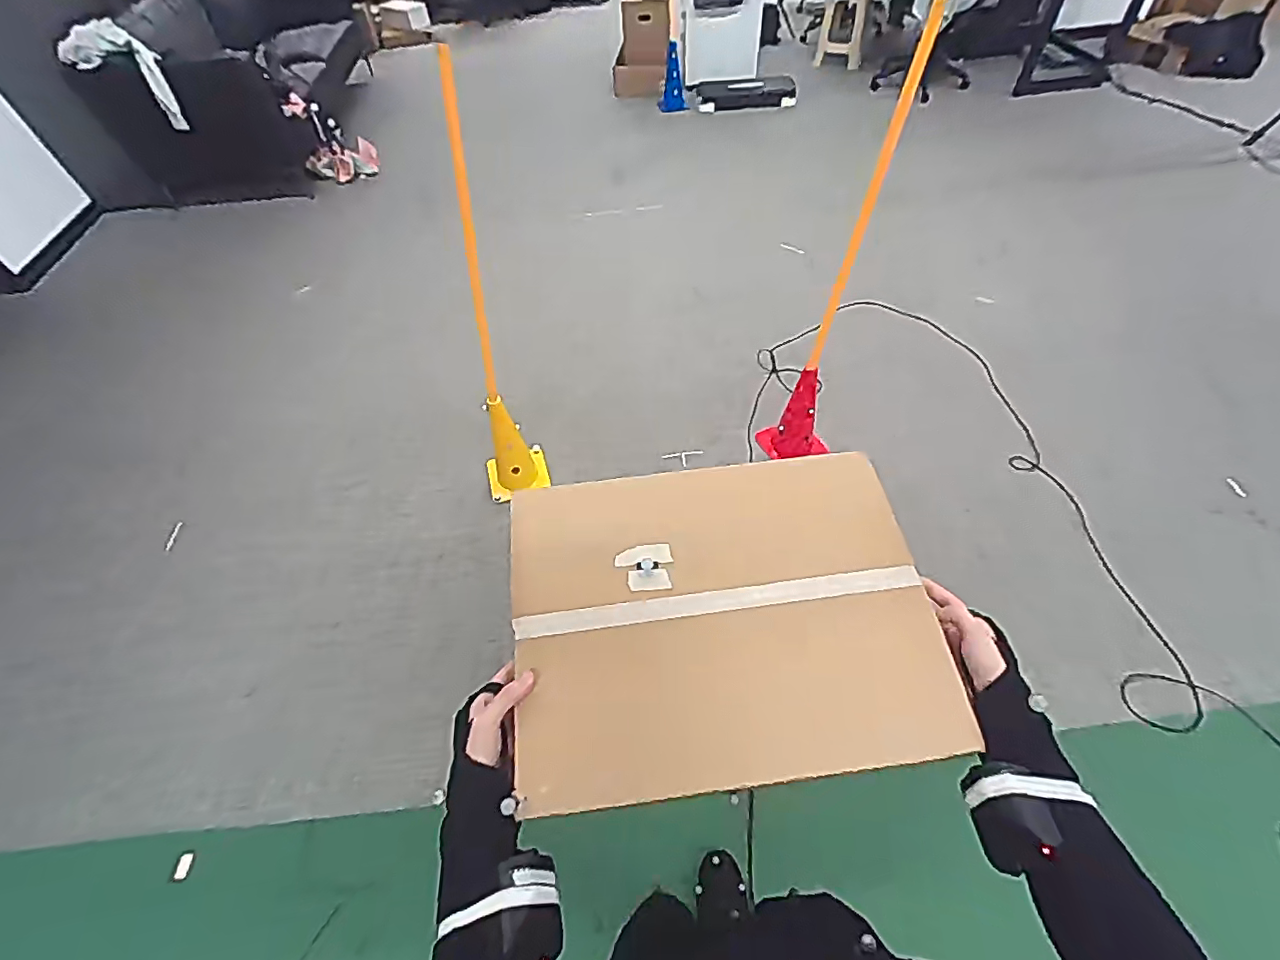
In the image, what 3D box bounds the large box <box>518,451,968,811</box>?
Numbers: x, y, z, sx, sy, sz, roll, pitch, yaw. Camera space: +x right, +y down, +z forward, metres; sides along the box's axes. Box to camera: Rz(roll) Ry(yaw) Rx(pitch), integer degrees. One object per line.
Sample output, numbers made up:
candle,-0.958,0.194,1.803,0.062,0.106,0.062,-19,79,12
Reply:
large box,0.087,0.198,0.677,0.408,0.320,0.320,-8,59,-2
